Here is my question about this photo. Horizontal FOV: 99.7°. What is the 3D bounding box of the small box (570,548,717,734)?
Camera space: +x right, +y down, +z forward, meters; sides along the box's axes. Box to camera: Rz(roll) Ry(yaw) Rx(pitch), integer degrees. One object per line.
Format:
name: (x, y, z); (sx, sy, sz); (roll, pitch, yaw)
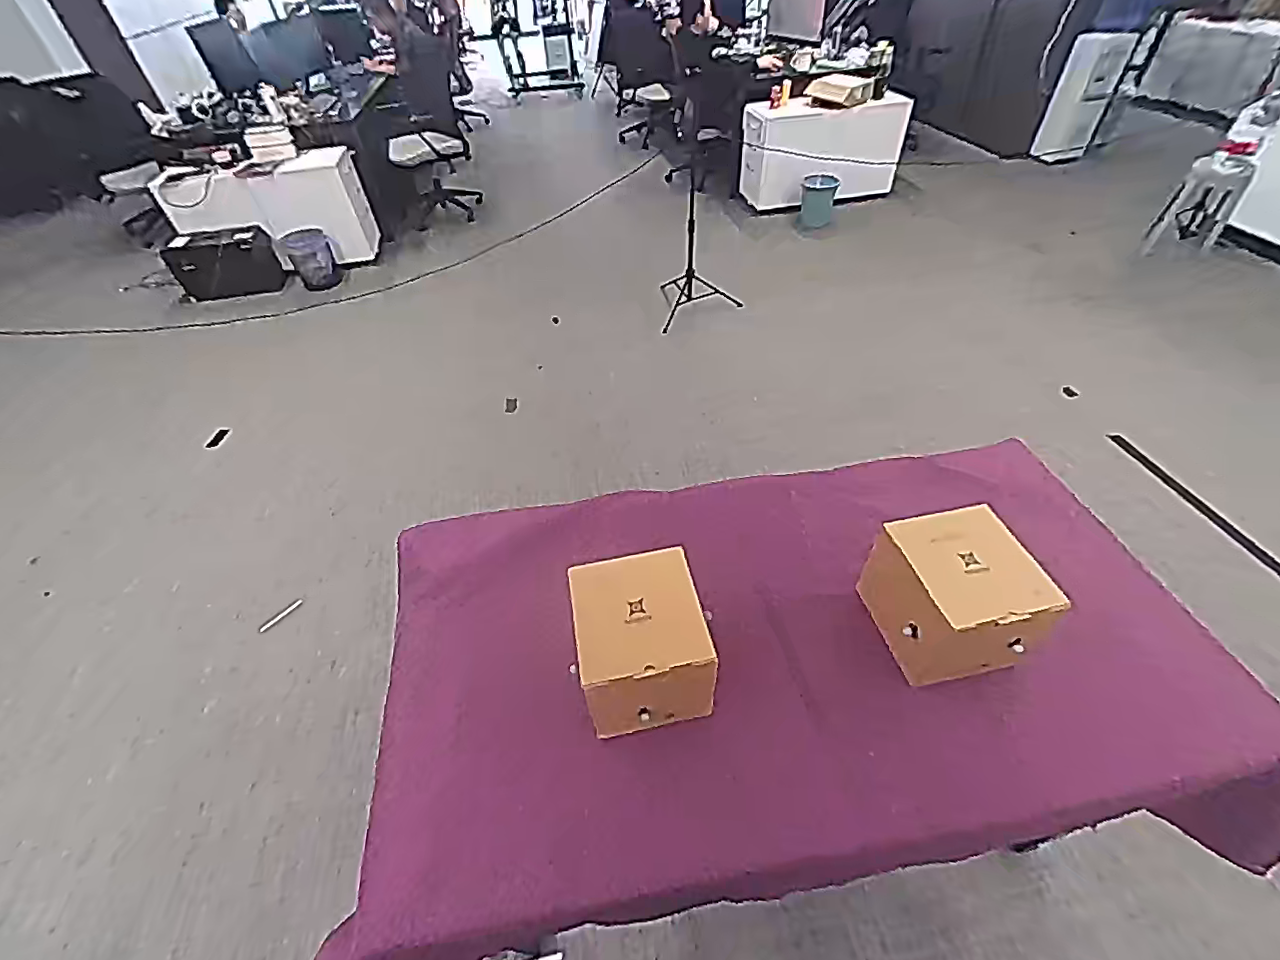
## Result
small box: (0.000, 0.225, 0.757); (0.168, 0.176, 0.179); (-10, 47, -6)

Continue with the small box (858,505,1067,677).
small box: (0.444, 0.166, 0.782); (0.168, 0.176, 0.179); (-10, 46, -6)
